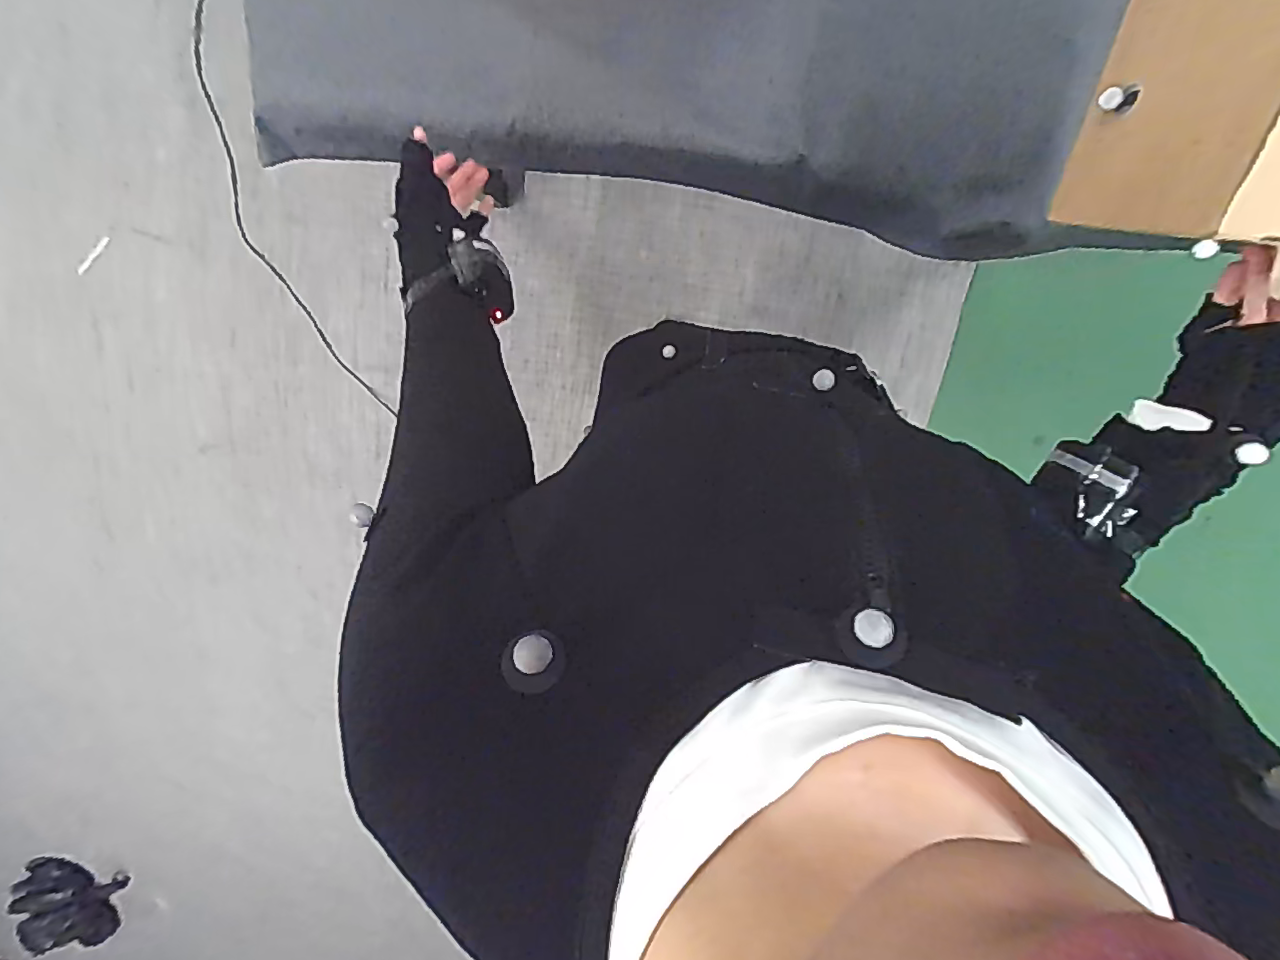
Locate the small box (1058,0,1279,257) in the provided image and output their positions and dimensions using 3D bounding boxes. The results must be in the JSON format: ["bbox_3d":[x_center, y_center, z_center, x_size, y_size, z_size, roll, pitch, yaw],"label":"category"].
[{"bbox_3d":[0.441,-0.255,0.369,0.168,0.176,0.179,4,119,-1],"label":"small box"}]
